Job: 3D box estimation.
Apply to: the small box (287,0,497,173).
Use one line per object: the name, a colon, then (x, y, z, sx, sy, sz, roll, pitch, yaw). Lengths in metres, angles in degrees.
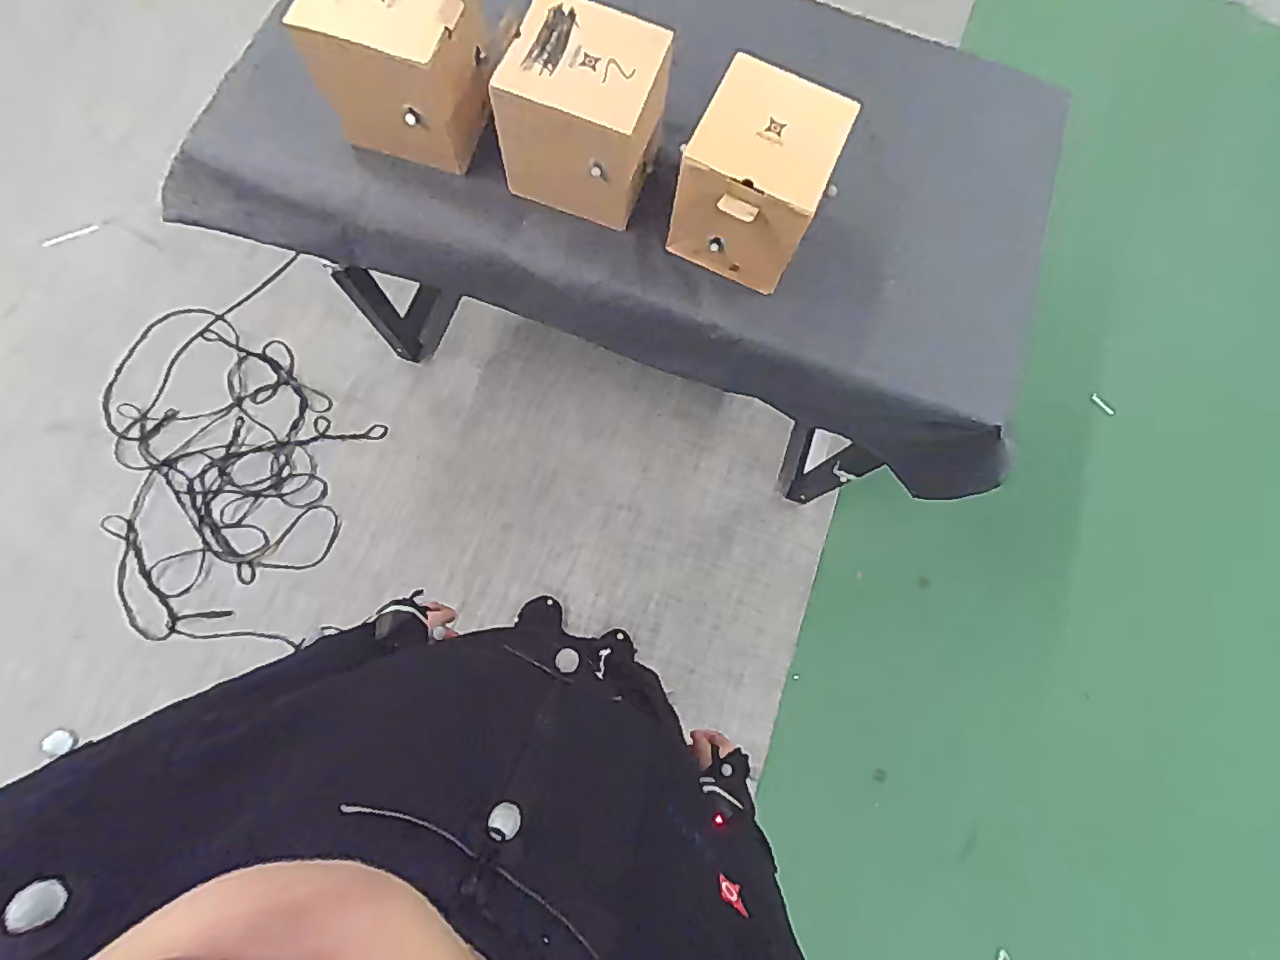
small box: (-0.305, -0.545, 0.713, 0.179, 0.176, 0.168, 15, 75, 0)

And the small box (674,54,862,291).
small box: (0.155, -0.390, 0.711, 0.168, 0.176, 0.179, 24, 77, 1)
